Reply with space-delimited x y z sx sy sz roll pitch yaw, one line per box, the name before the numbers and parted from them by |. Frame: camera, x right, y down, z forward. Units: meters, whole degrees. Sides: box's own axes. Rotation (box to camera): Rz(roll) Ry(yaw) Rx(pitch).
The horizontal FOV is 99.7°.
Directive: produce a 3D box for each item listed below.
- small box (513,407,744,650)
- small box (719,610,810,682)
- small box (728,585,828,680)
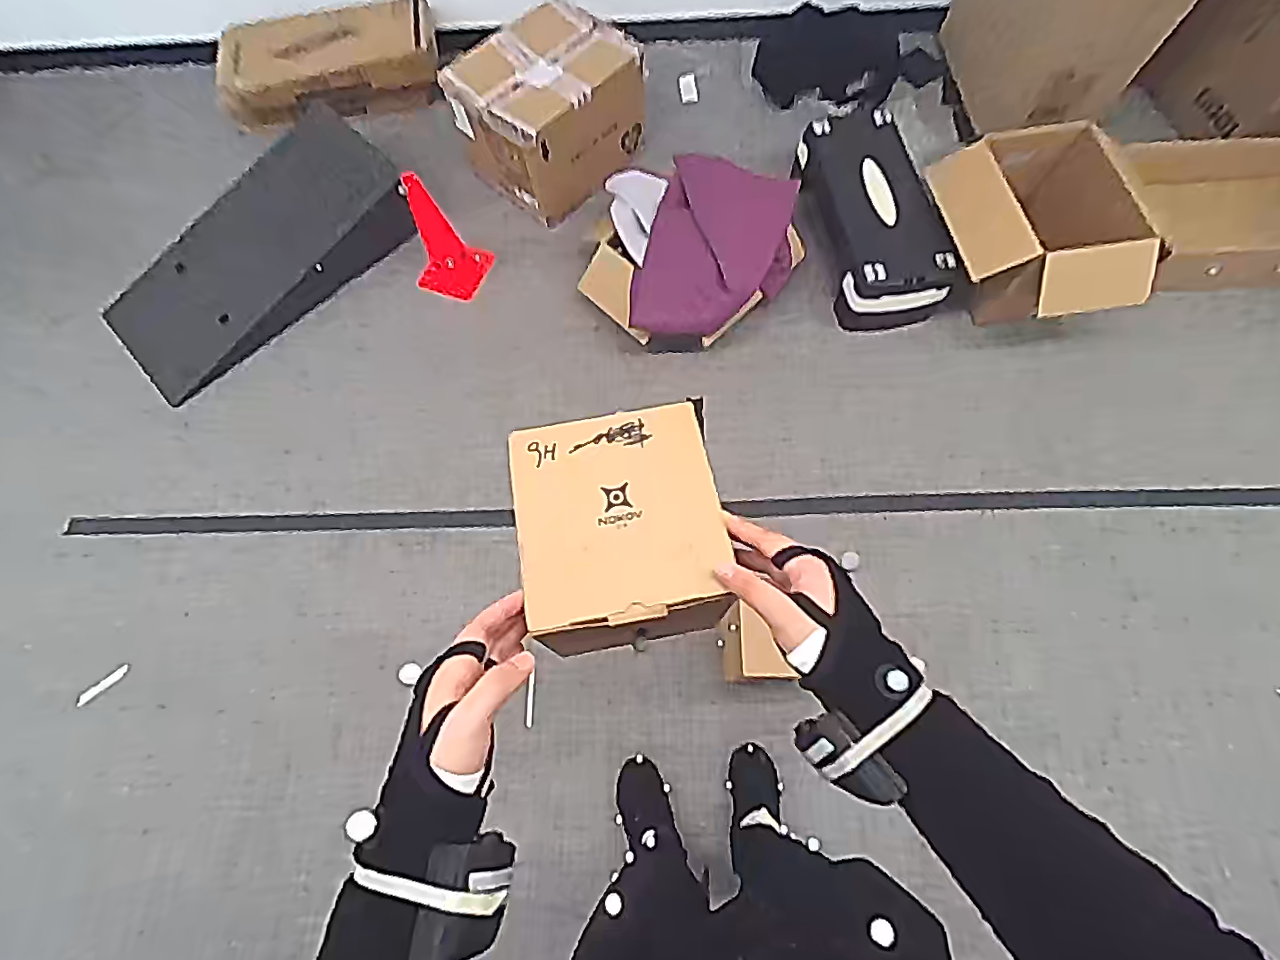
small box | -0.012 0.058 0.511 0.168 0.176 0.179 -11 68 -4
small box | 0.285 0.385 1.270 0.179 0.176 0.168 -2 70 1
small box | 0.276 0.319 1.120 0.168 0.176 0.179 0 71 2
